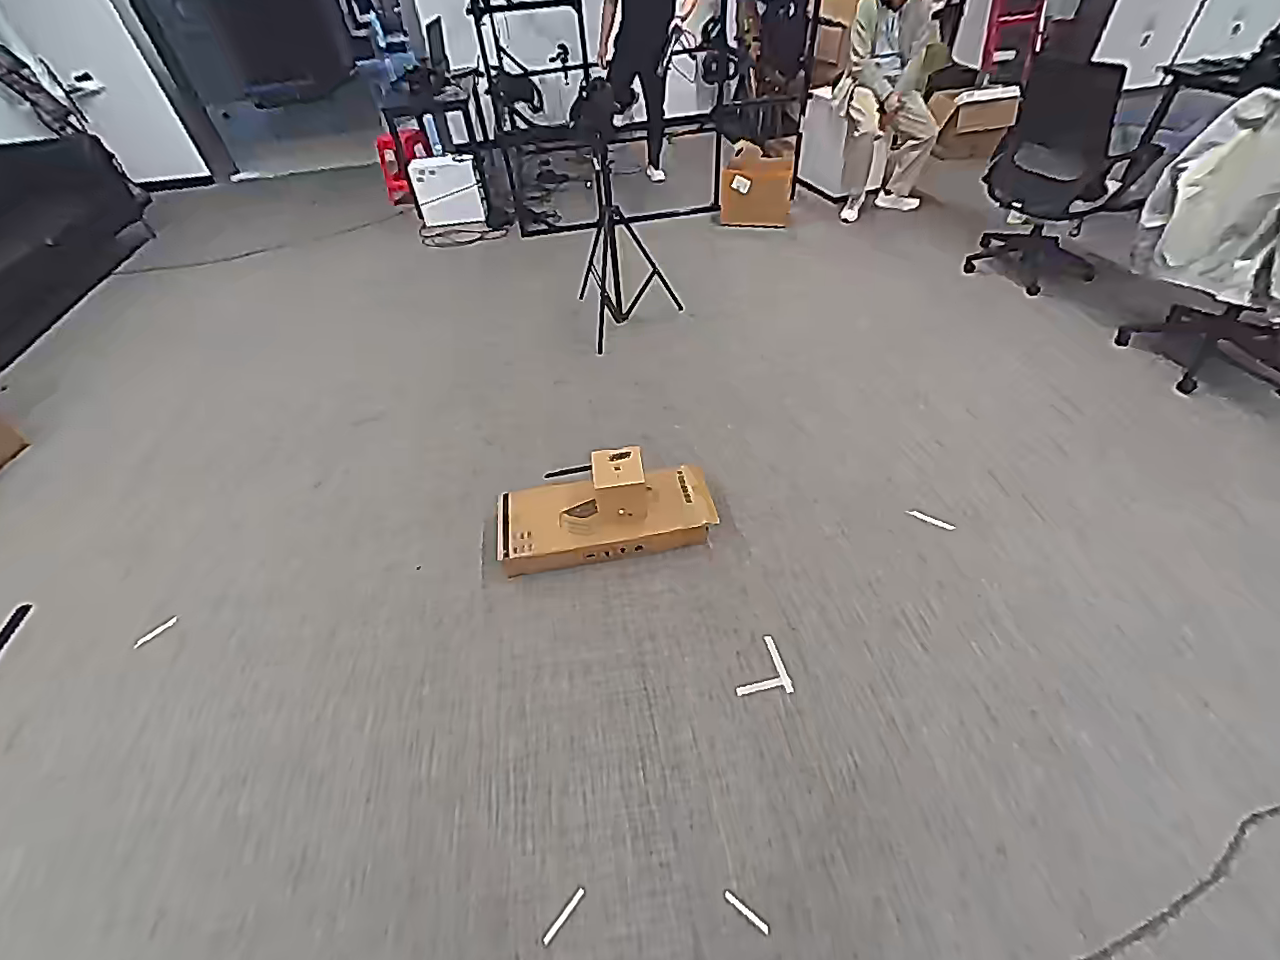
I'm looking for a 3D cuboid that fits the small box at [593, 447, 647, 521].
[{"bbox_3d":[-0.068,0.015,1.834,0.168,0.176,0.179,-8,46,-2],"label":"small box"}]
